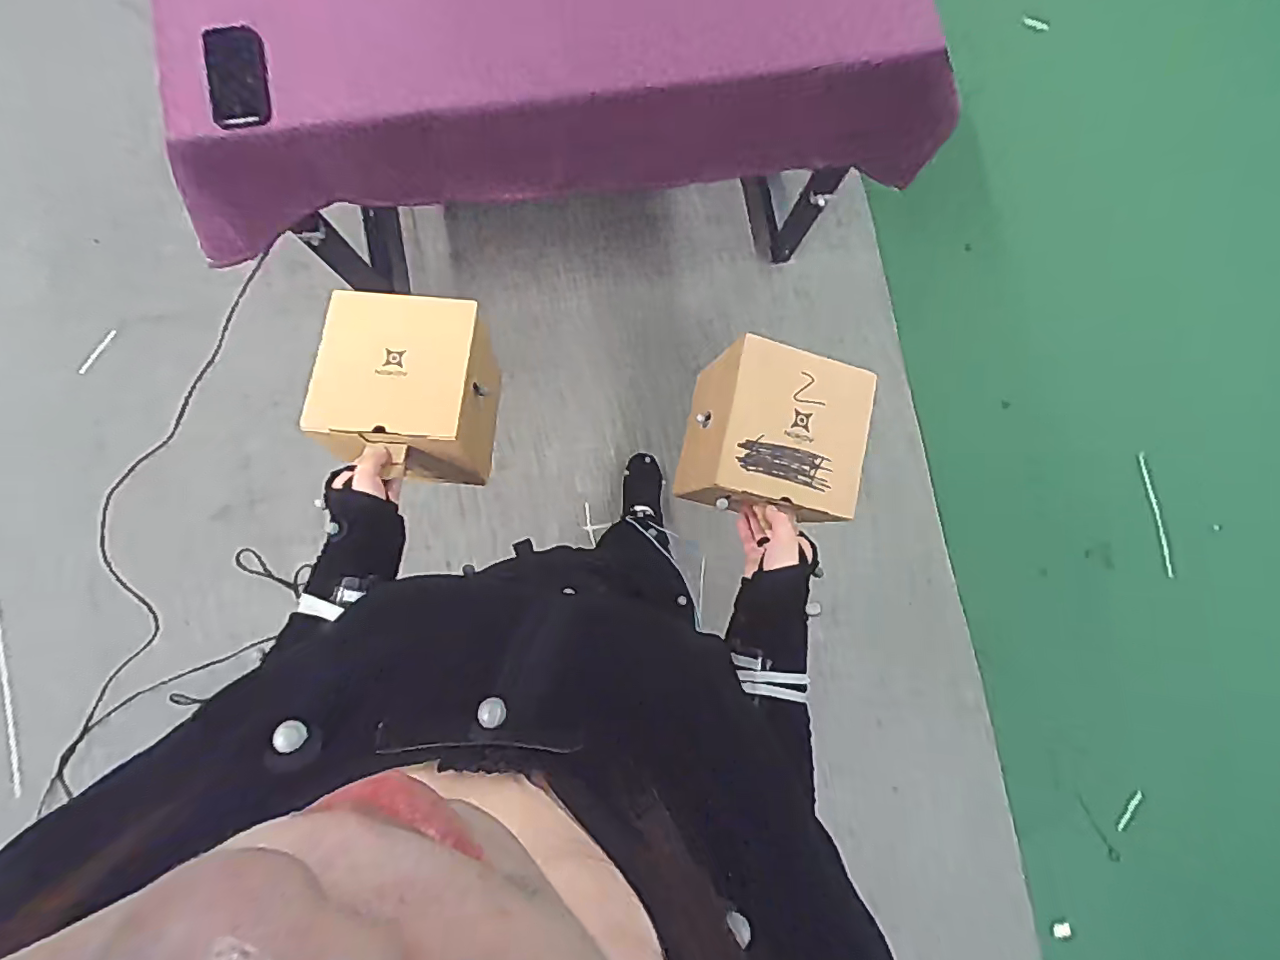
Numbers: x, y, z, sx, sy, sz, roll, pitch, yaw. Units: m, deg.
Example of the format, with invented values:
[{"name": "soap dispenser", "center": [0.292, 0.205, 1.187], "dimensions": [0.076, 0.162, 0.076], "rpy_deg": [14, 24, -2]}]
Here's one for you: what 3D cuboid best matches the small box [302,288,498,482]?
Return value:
[{"name": "small box", "center": [-0.278, -0.108, 0.673], "dimensions": [0.168, 0.176, 0.179], "rpy_deg": [3, 73, -4]}]
